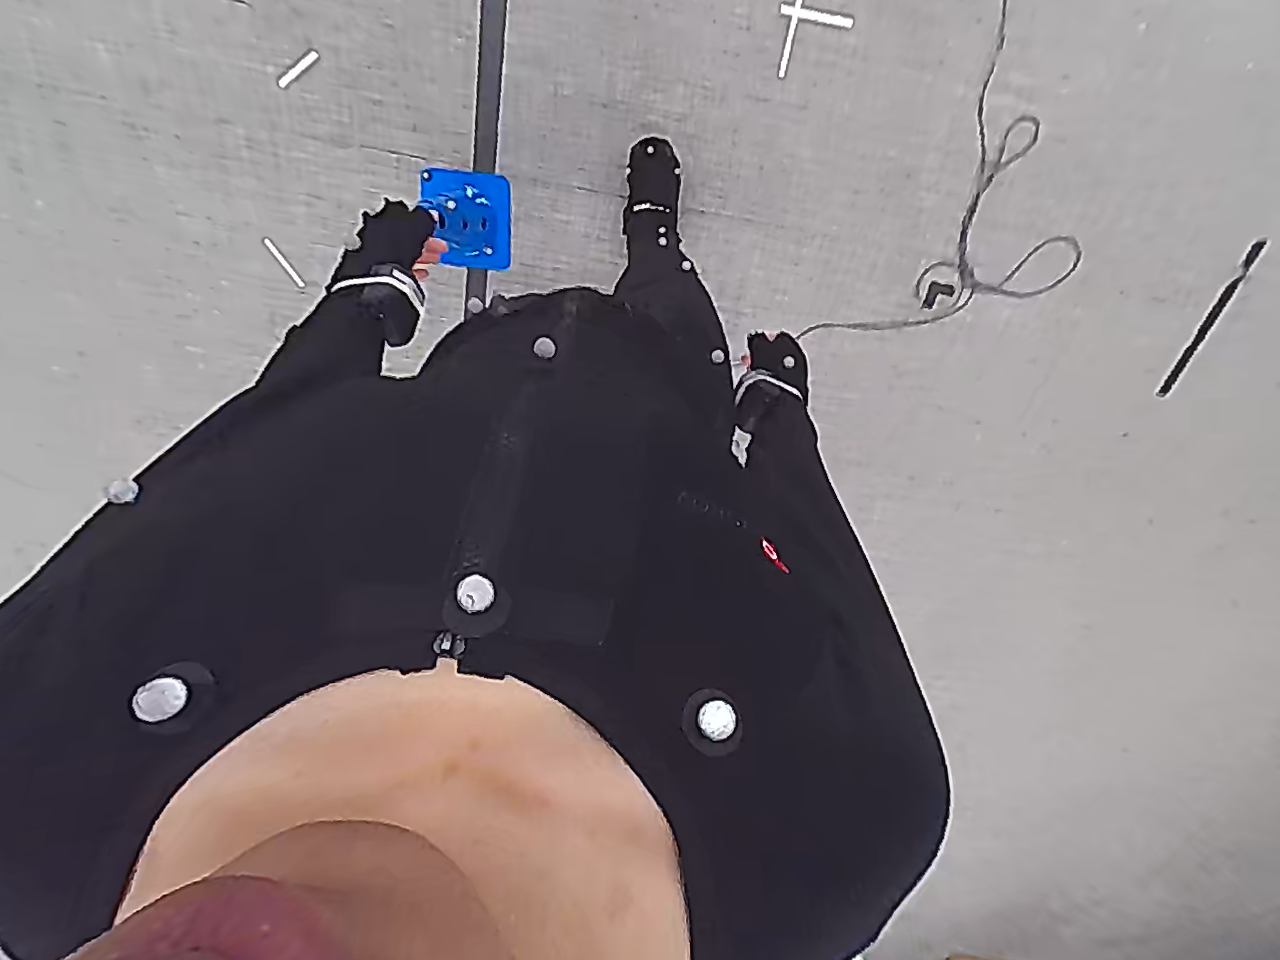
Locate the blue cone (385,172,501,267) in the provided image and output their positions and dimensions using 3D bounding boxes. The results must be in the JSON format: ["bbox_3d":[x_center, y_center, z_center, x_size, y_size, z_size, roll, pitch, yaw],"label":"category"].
[{"bbox_3d":[-0.412,-0.525,1.093,0.192,0.380,0.193,6,115,-4],"label":"blue cone"}]
